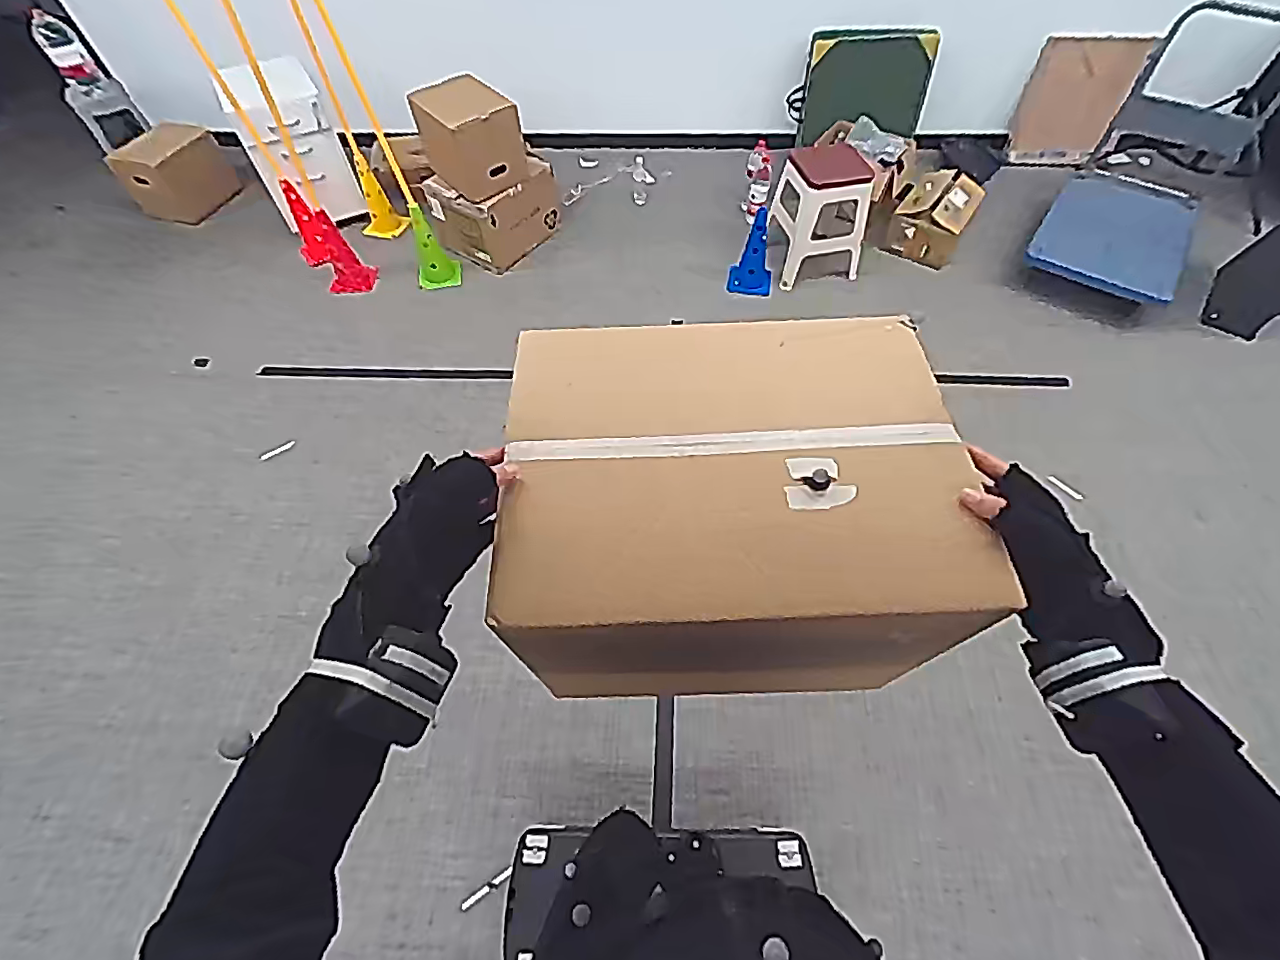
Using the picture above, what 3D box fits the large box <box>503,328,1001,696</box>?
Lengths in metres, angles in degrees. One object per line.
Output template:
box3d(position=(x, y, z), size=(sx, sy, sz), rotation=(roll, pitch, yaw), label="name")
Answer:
box3d(position=(0.084, 0.053, 0.627), size=(0.408, 0.320, 0.320), rotation=(-2, 59, 0), label="large box")

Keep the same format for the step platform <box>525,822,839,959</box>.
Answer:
box3d(position=(0.087, 0.948, 1.229), size=(0.684, 0.204, 0.286), rotation=(0, 56, 0), label="step platform")
